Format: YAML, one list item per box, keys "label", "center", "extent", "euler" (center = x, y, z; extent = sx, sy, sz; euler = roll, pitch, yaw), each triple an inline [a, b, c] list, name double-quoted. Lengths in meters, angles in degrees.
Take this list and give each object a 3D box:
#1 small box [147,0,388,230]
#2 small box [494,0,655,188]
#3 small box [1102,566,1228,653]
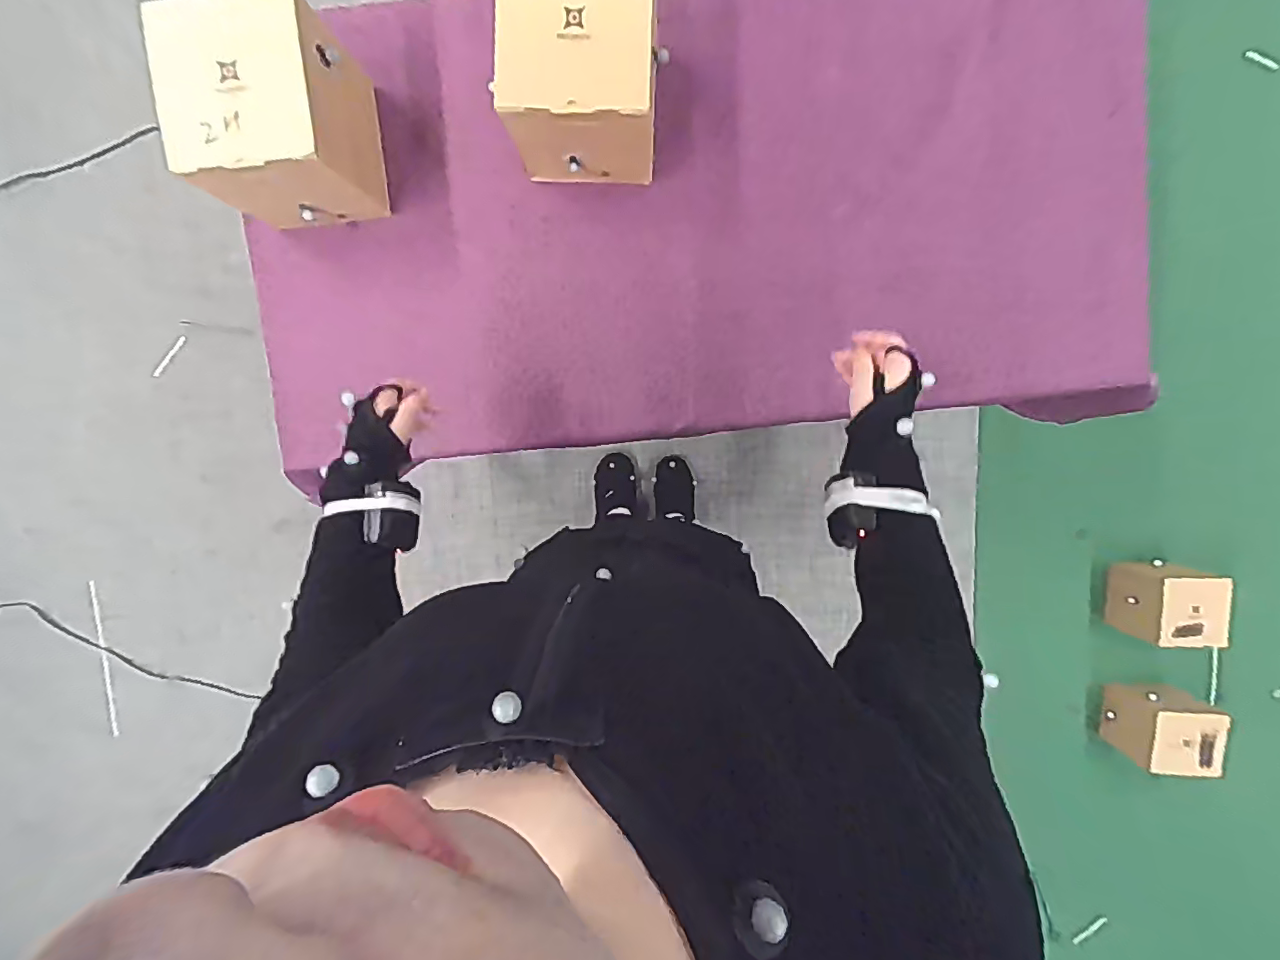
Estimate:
- label: "small box"
  center: [-0.433, -0.429, 0.657]
  extent: [0.168, 0.176, 0.179]
  euler: [-5, 95, 2]
- label: "small box"
  center: [-0.069, -0.478, 0.645]
  extent: [0.168, 0.176, 0.179]
  euler: [2, 96, 2]
- label: "small box"
  center: [1.350, 0.331, 1.403]
  extent: [0.168, 0.176, 0.179]
  euler: [0, 94, 2]
